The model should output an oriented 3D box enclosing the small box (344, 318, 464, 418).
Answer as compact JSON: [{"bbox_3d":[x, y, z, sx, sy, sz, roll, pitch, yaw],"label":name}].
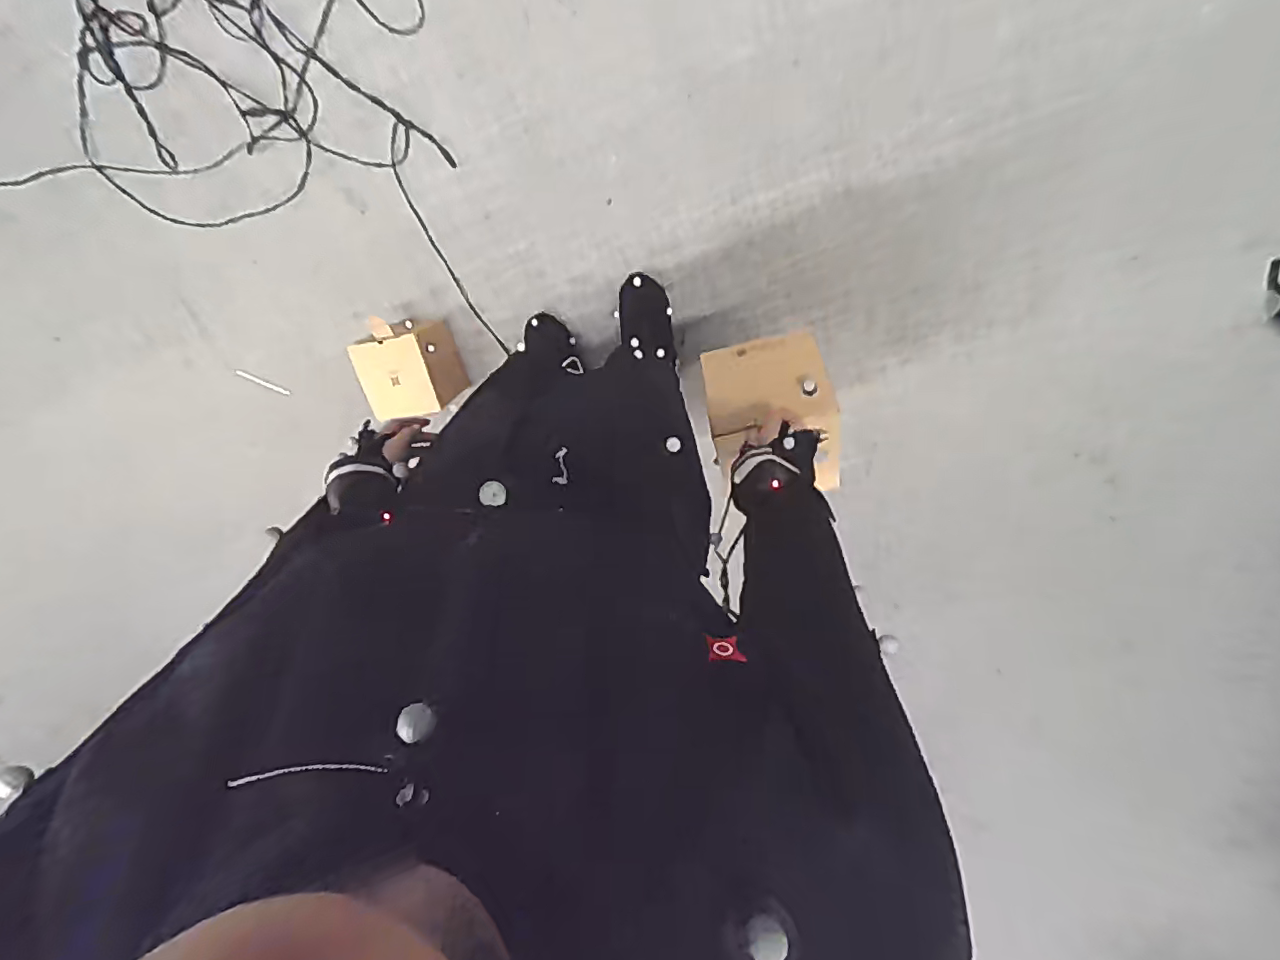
[{"bbox_3d":[-0.529,-0.259,1.241,0.168,0.176,0.179,-6,115,10],"label":"small box"}]
